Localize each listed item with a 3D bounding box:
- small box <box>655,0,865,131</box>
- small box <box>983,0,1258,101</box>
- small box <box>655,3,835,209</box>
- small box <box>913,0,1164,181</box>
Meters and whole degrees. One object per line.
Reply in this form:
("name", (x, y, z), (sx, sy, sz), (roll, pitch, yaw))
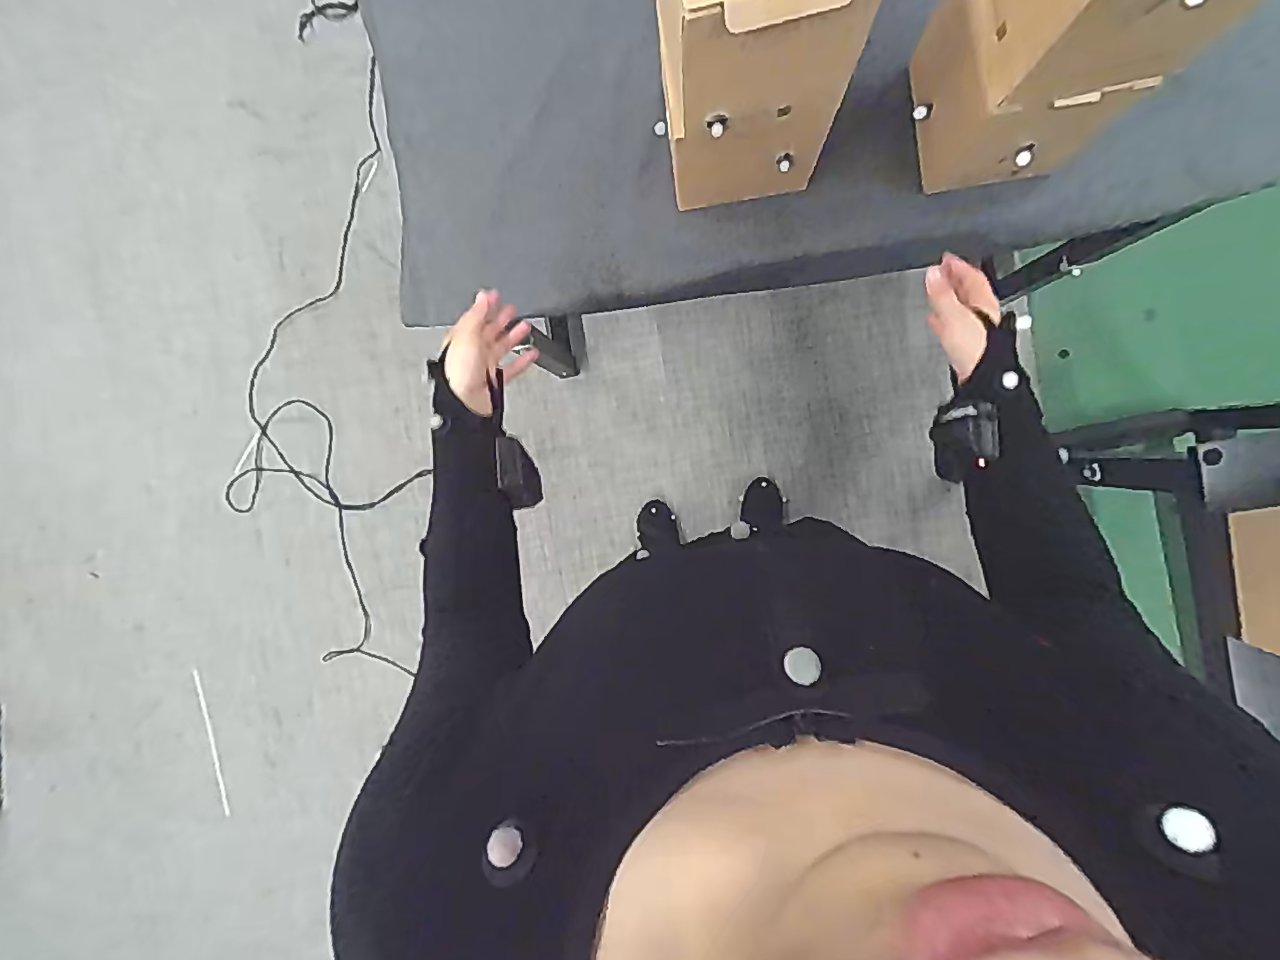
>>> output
("small box", (0.100, -0.454, 0.488), (0.168, 0.176, 0.179), (-11, 89, 6))
("small box", (0.423, -0.465, 0.452), (0.179, 0.176, 0.168), (-9, 90, 7))
("small box", (0.118, -0.456, 0.651), (0.179, 0.176, 0.168), (-7, 90, 7))
("small box", (0.432, -0.469, 0.614), (0.168, 0.176, 0.179), (-7, 91, 7))
